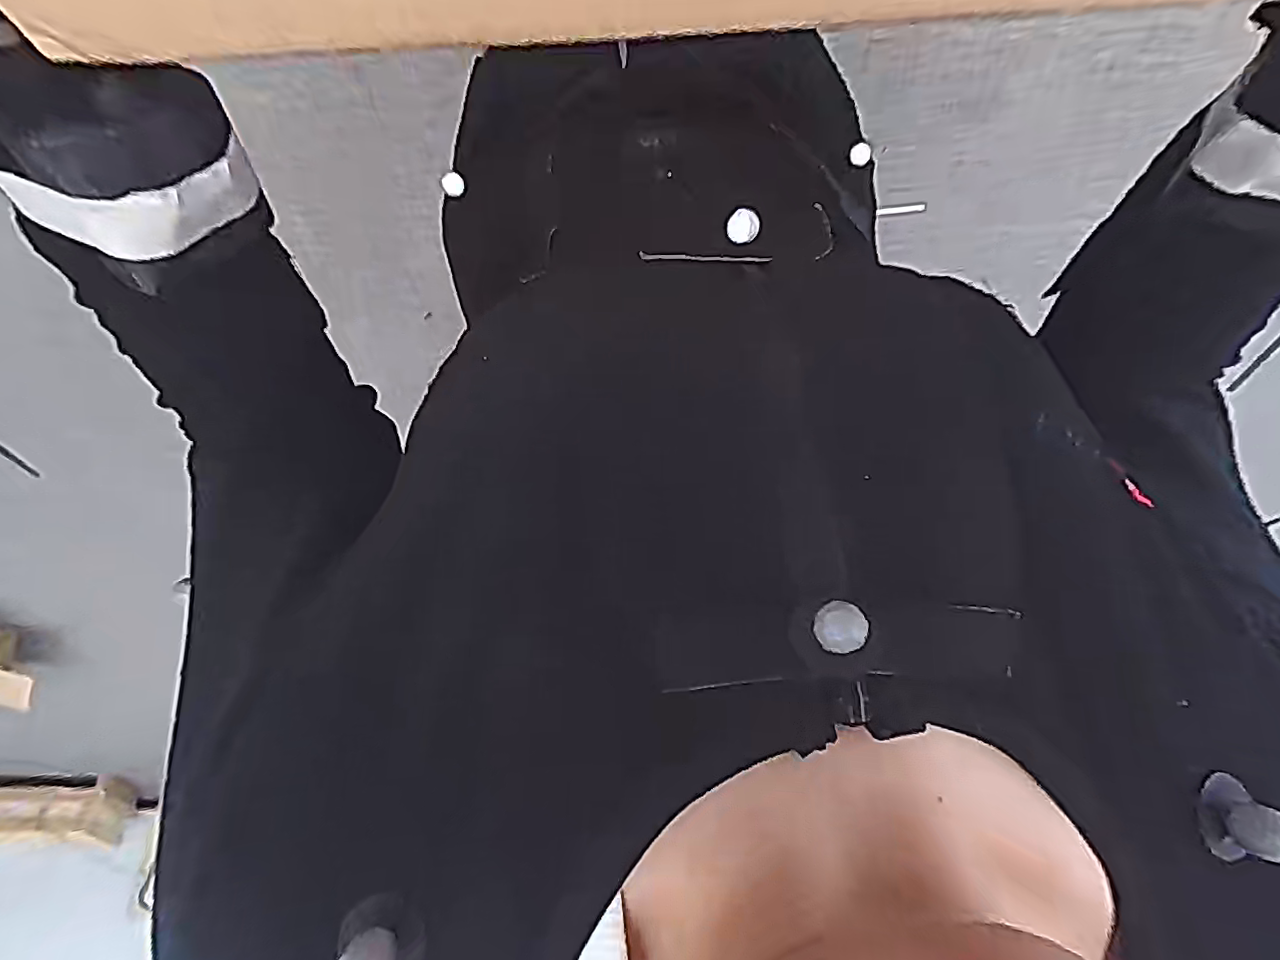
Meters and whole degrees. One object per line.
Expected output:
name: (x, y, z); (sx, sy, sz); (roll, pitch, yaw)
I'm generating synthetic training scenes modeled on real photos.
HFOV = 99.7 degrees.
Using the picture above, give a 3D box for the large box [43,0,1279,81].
large box: (0.024, -0.337, 0.109); (0.408, 0.320, 0.320); (-2, 147, 2)
